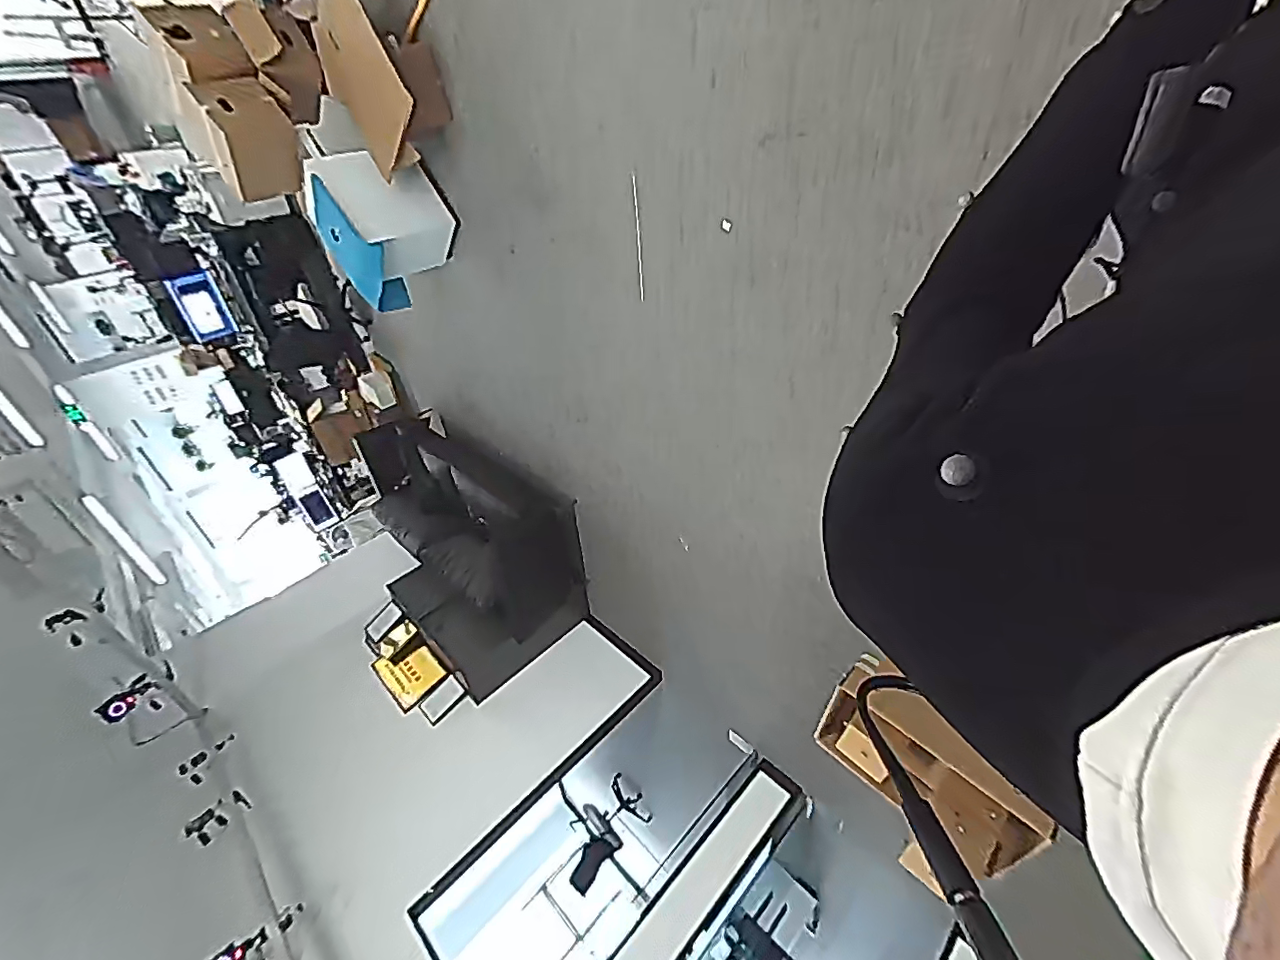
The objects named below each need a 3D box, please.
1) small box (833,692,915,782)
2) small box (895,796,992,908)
[{"bbox_3d":[0.768,0.837,1.769,0.168,0.176,0.179,35,140,31],"label":"small box"},{"bbox_3d":[0.855,1.042,1.522,0.168,0.176,0.179,31,139,34],"label":"small box"}]
